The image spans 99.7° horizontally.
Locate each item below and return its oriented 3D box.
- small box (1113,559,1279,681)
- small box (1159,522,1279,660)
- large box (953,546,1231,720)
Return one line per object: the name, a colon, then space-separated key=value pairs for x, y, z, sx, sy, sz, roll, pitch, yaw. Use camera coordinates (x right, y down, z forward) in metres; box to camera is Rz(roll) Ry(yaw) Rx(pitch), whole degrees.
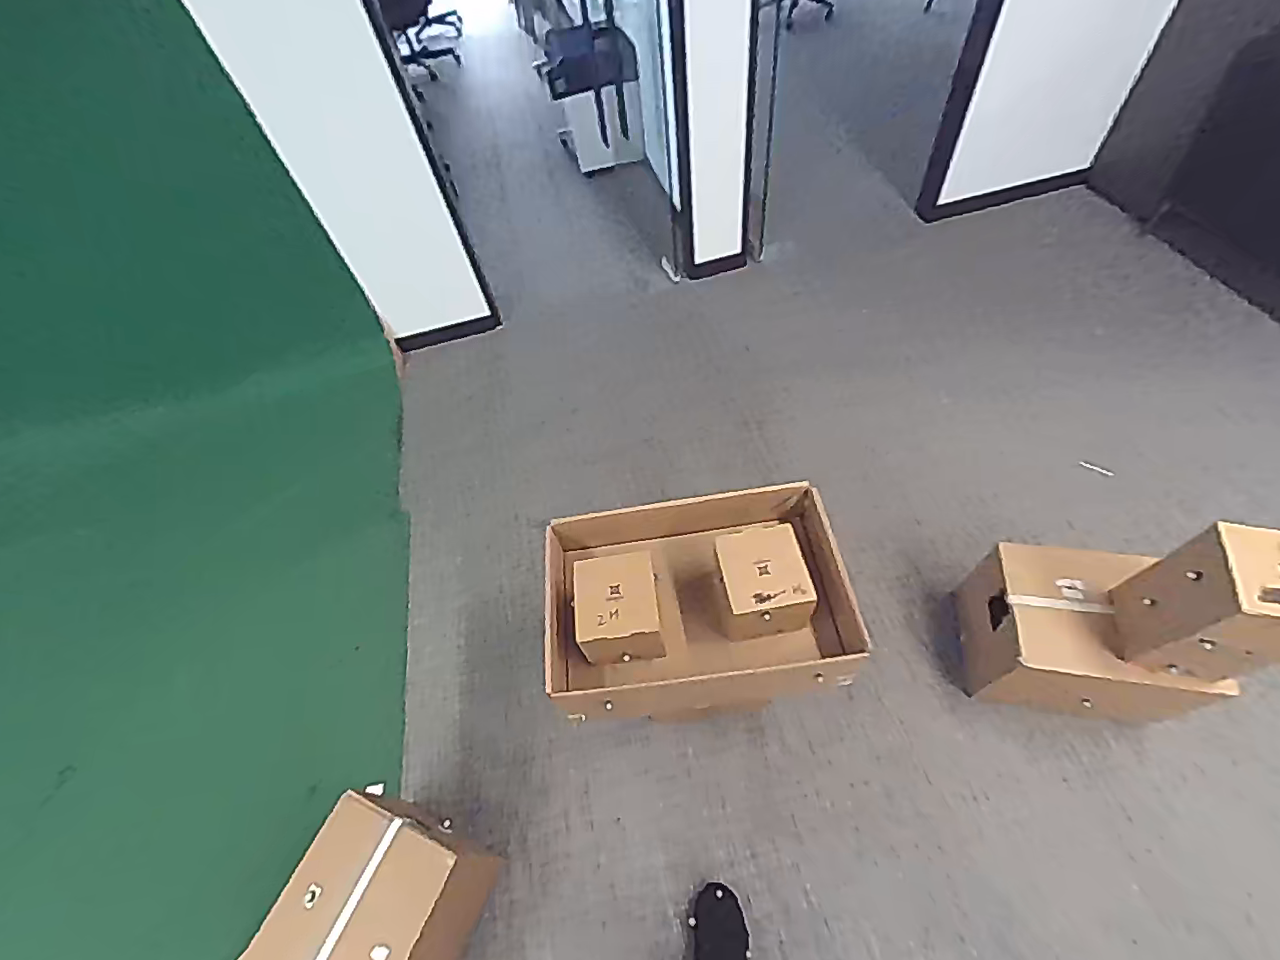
small box: x=1.118 y=0.289 z=1.108 sx=0.168 sy=0.176 sz=0.179 roll=10 pitch=59 yaw=15
small box: x=1.093 y=0.203 z=0.970 sx=0.168 sy=0.176 sz=0.179 roll=11 pitch=58 yaw=16
large box: x=1.067 y=0.385 z=1.347 sx=0.408 sy=0.320 sz=0.320 roll=5 pitch=56 yaw=12
